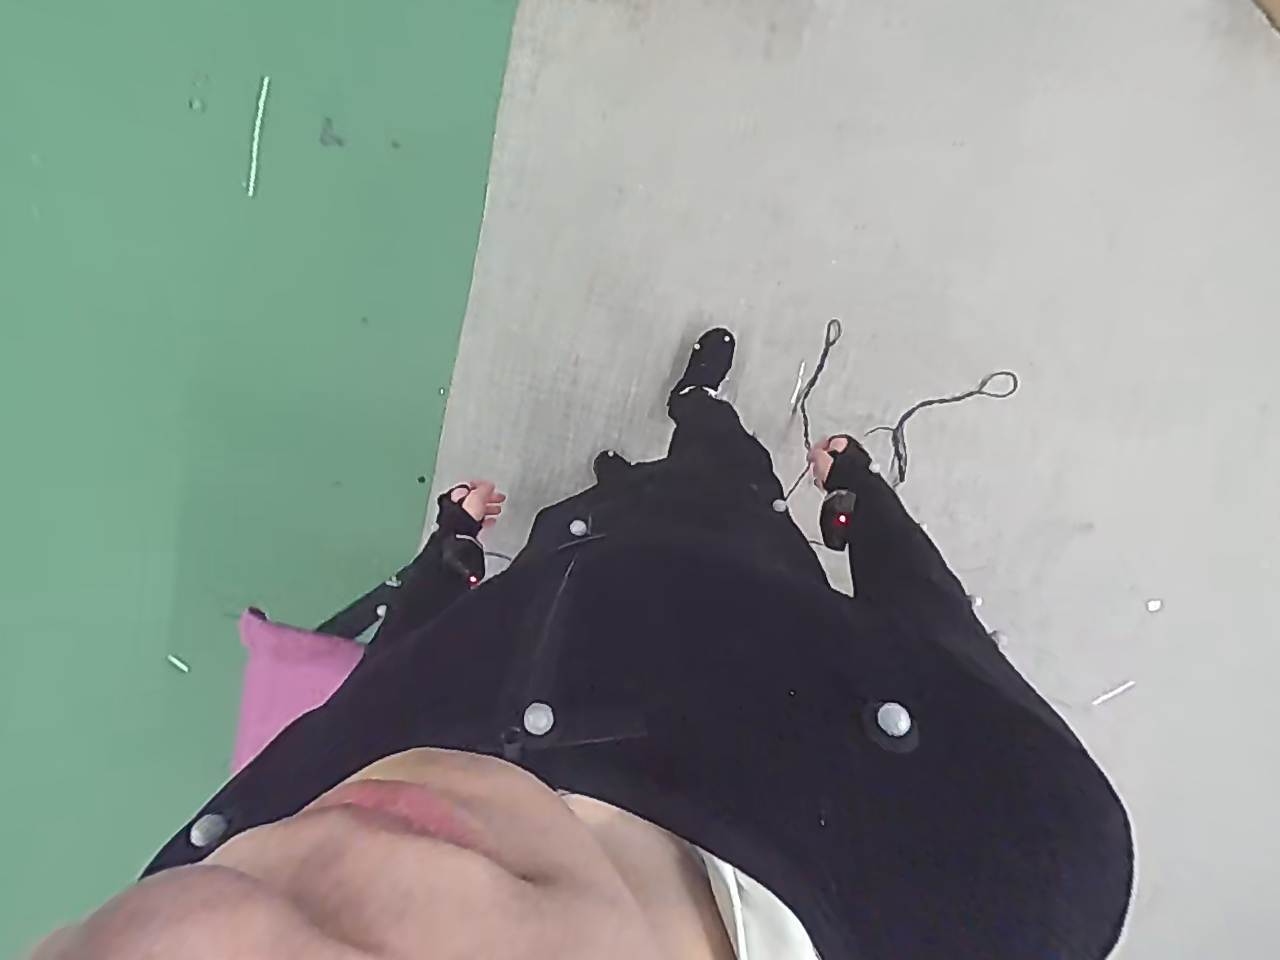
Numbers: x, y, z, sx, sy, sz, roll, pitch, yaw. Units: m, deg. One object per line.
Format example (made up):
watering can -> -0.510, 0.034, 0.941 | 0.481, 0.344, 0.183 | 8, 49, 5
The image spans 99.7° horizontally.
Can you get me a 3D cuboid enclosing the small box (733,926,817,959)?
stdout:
small box -> 0.257, 0.922, 0.930 | 0.179, 0.176, 0.168 | 13, 97, 0
